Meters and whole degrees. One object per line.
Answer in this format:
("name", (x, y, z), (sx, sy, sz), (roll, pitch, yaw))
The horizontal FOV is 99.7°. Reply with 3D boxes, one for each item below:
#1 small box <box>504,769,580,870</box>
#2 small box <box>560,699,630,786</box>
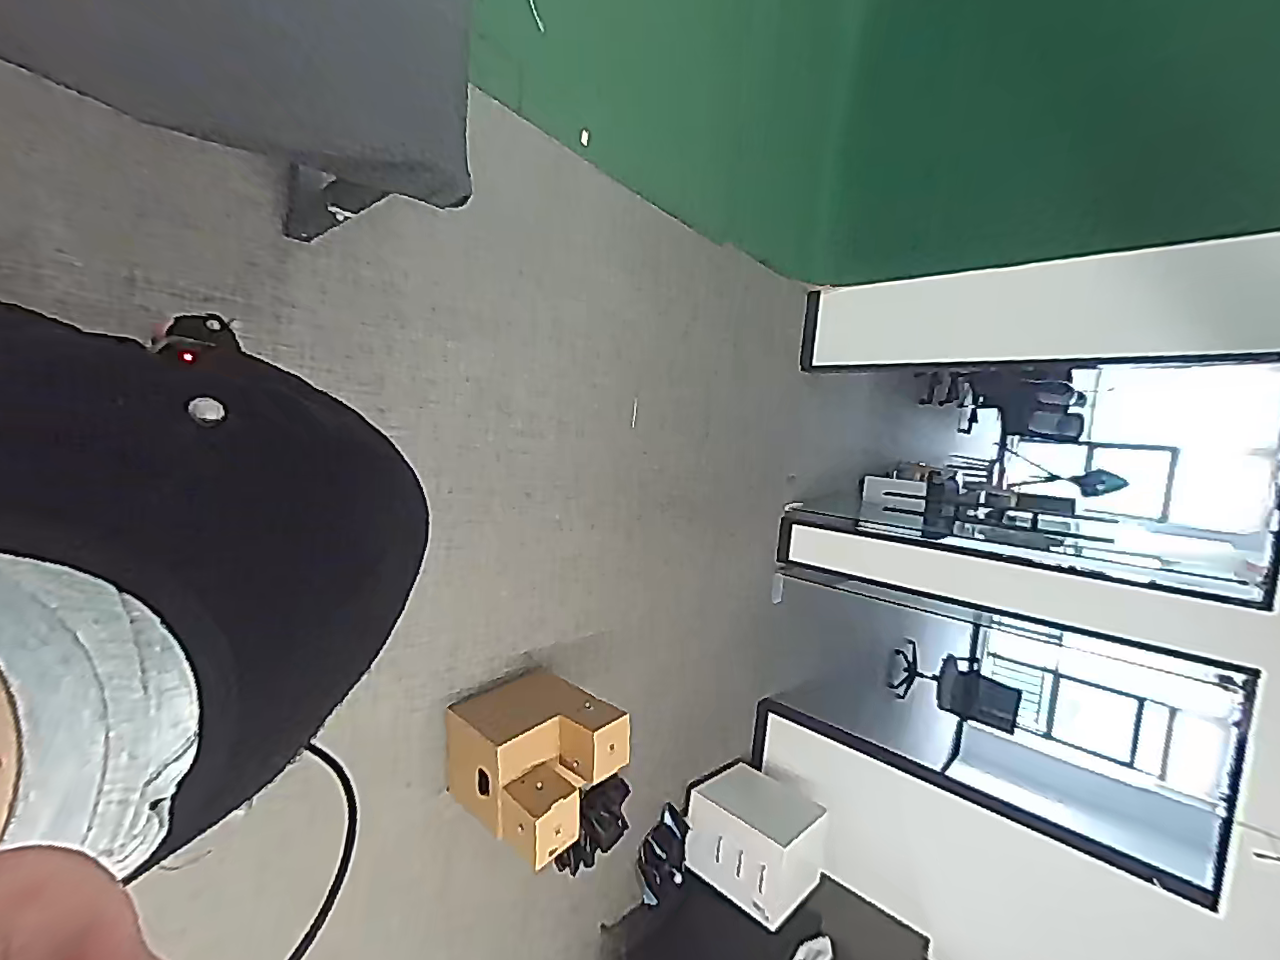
("small box", (-0.298, 1.013, 1.639), (0.168, 0.176, 0.179), (-10, 105, -46))
("small box", (-0.149, 0.856, 1.781), (0.168, 0.176, 0.179), (-6, 97, -48))
